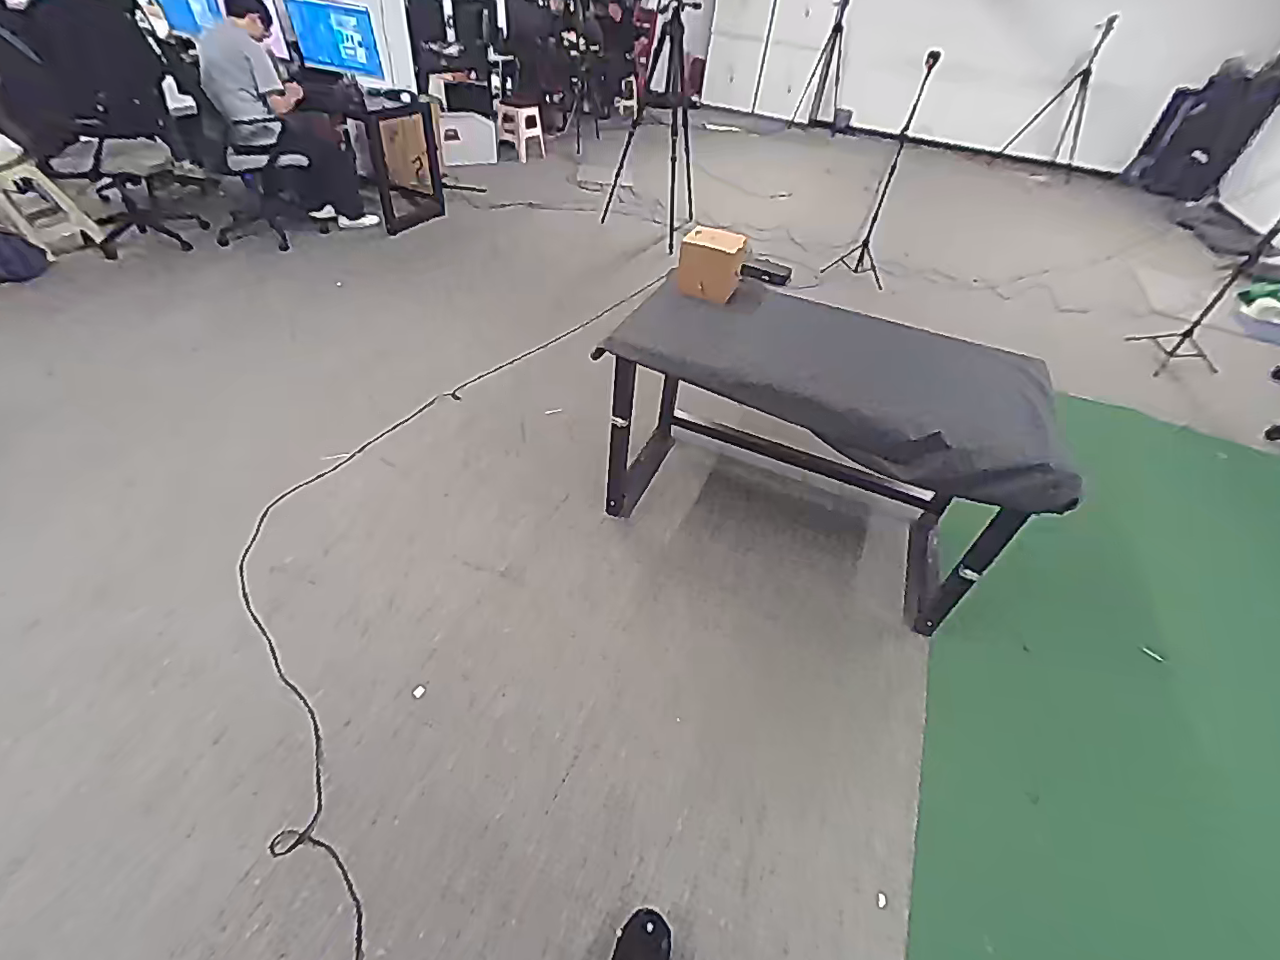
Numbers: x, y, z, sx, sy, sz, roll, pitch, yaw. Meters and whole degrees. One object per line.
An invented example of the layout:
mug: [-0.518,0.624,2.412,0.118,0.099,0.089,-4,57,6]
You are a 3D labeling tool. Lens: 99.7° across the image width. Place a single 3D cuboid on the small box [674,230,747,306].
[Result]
small box: [0.229,-0.693,1.776,0.179,0.176,0.168,21,45,13]
